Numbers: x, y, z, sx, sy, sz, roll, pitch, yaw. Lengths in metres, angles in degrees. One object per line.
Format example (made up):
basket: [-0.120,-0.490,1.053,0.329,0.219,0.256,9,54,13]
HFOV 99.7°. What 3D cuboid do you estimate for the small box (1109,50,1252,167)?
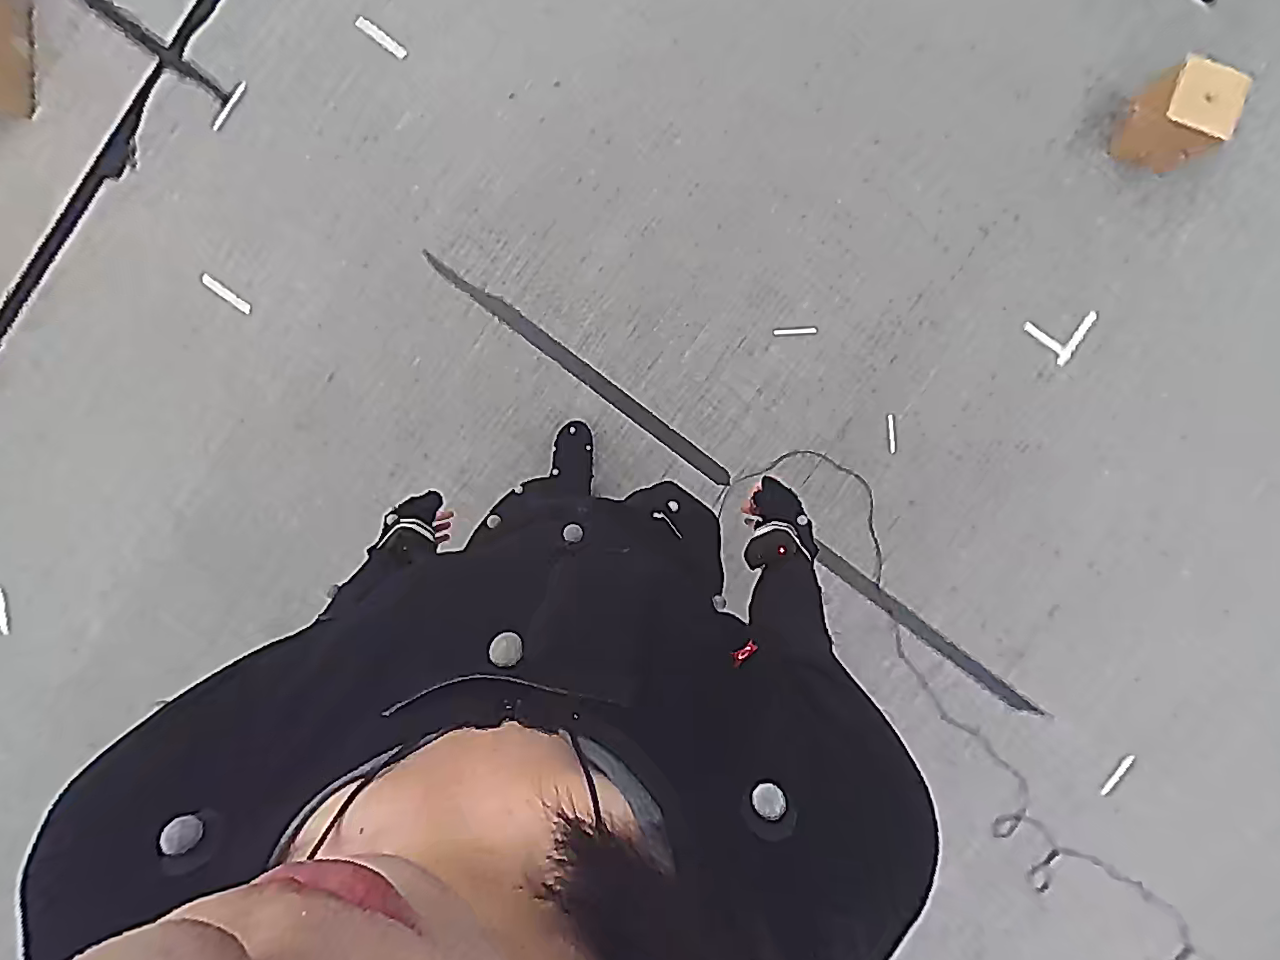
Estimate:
small box: [1.397,-0.954,1.407,0.179,0.176,0.168,17,92,-1]
